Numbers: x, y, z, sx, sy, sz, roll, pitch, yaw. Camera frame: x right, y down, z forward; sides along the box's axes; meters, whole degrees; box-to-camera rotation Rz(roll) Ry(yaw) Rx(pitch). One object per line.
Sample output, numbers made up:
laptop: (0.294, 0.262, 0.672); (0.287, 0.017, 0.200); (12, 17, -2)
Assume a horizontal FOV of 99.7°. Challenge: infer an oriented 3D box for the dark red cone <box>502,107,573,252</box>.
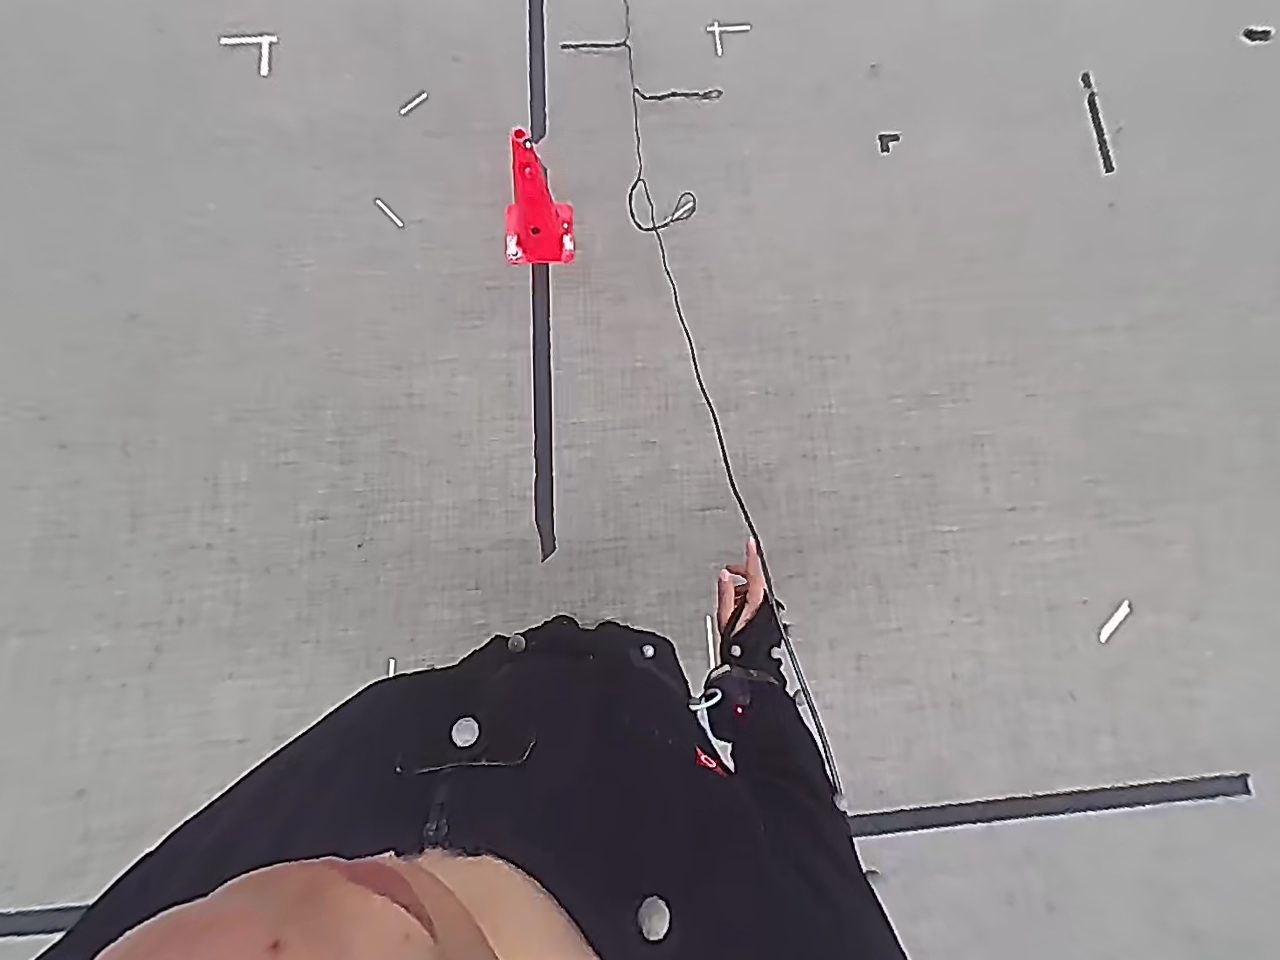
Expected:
dark red cone: (-0.288, -0.789, 1.421); (0.201, 0.394, 0.202); (-3, 77, -5)
